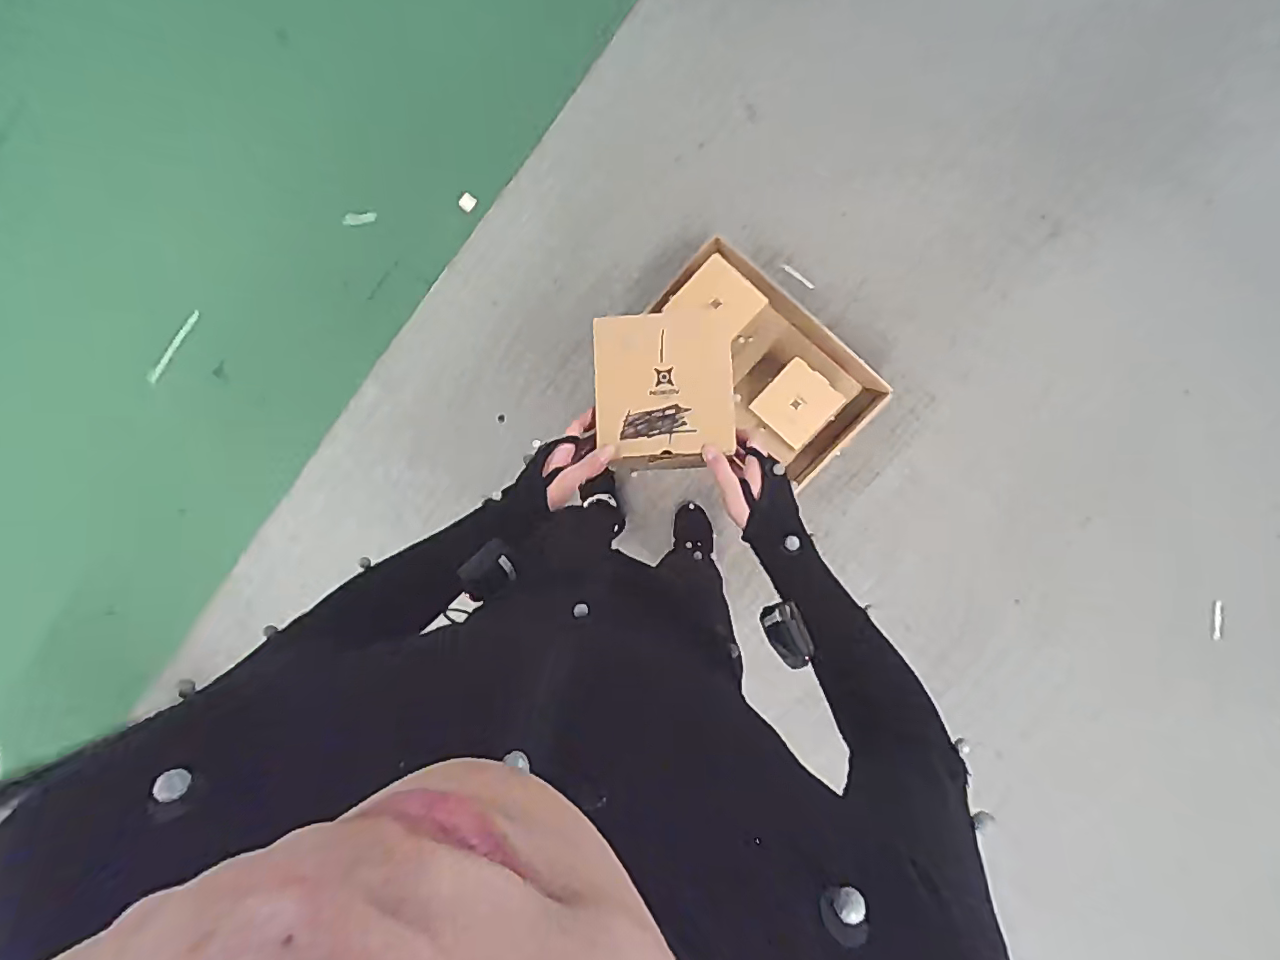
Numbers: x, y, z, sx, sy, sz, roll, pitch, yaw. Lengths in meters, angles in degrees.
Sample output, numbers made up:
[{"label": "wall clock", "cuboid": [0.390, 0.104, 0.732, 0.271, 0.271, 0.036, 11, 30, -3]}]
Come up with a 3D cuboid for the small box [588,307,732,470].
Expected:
[{"label": "small box", "cuboid": [0.029, -0.106, 0.711, 0.168, 0.176, 0.179, -4, 85, 4]}]

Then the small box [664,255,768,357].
[{"label": "small box", "cuboid": [0.176, -0.387, 1.280, 0.168, 0.176, 0.179, 44, 97, 4]}]

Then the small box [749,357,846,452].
[{"label": "small box", "cuboid": [0.400, -0.189, 1.415, 0.168, 0.176, 0.179, 44, 97, 6]}]
